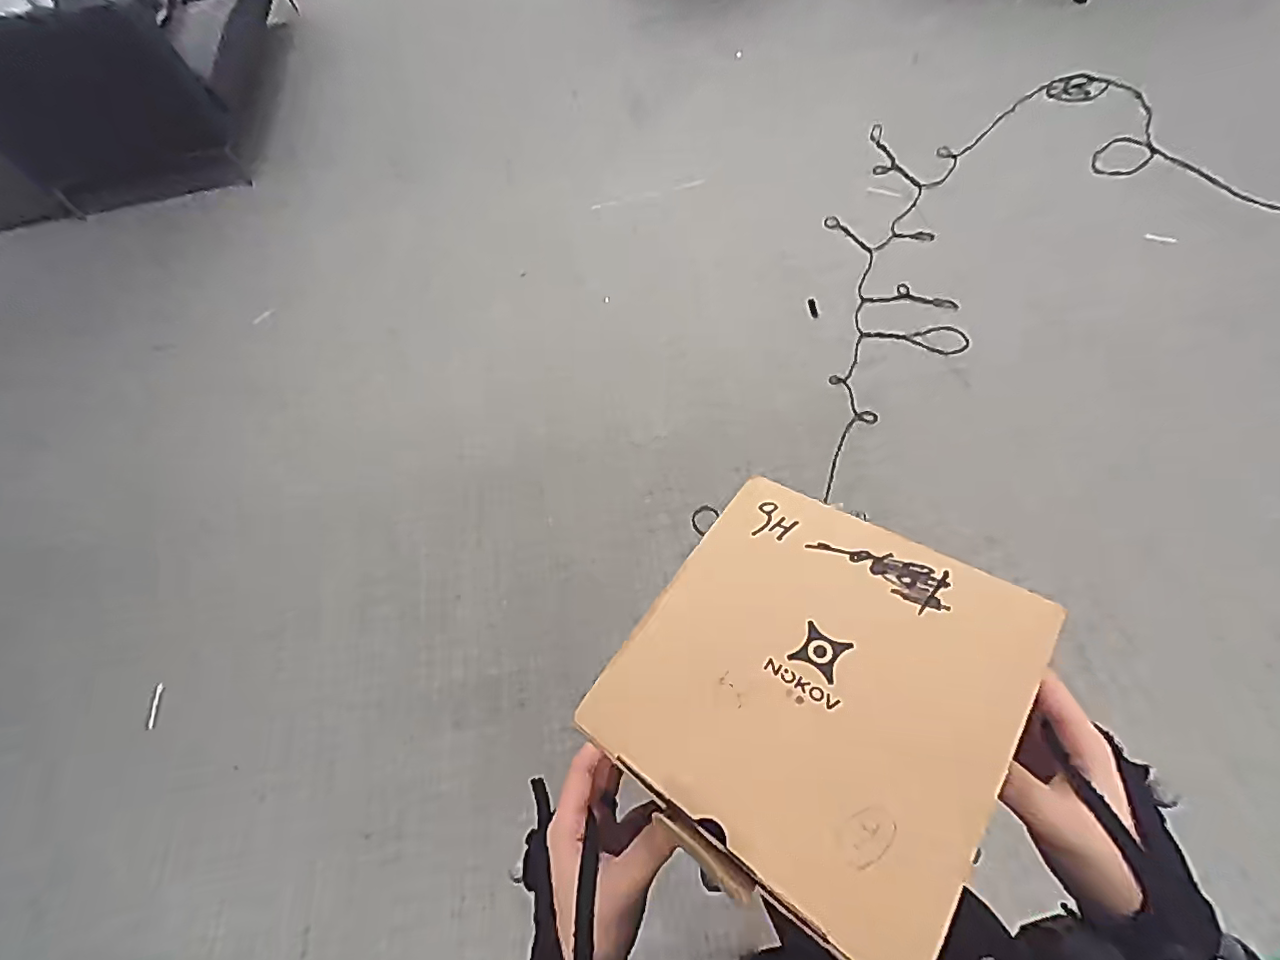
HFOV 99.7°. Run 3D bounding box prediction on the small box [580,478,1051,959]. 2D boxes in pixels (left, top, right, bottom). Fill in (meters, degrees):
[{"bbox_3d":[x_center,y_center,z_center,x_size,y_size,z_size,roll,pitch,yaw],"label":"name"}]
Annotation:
[{"bbox_3d":[0.099,0.137,0.324,0.168,0.176,0.179,26,64,31],"label":"small box"}]
